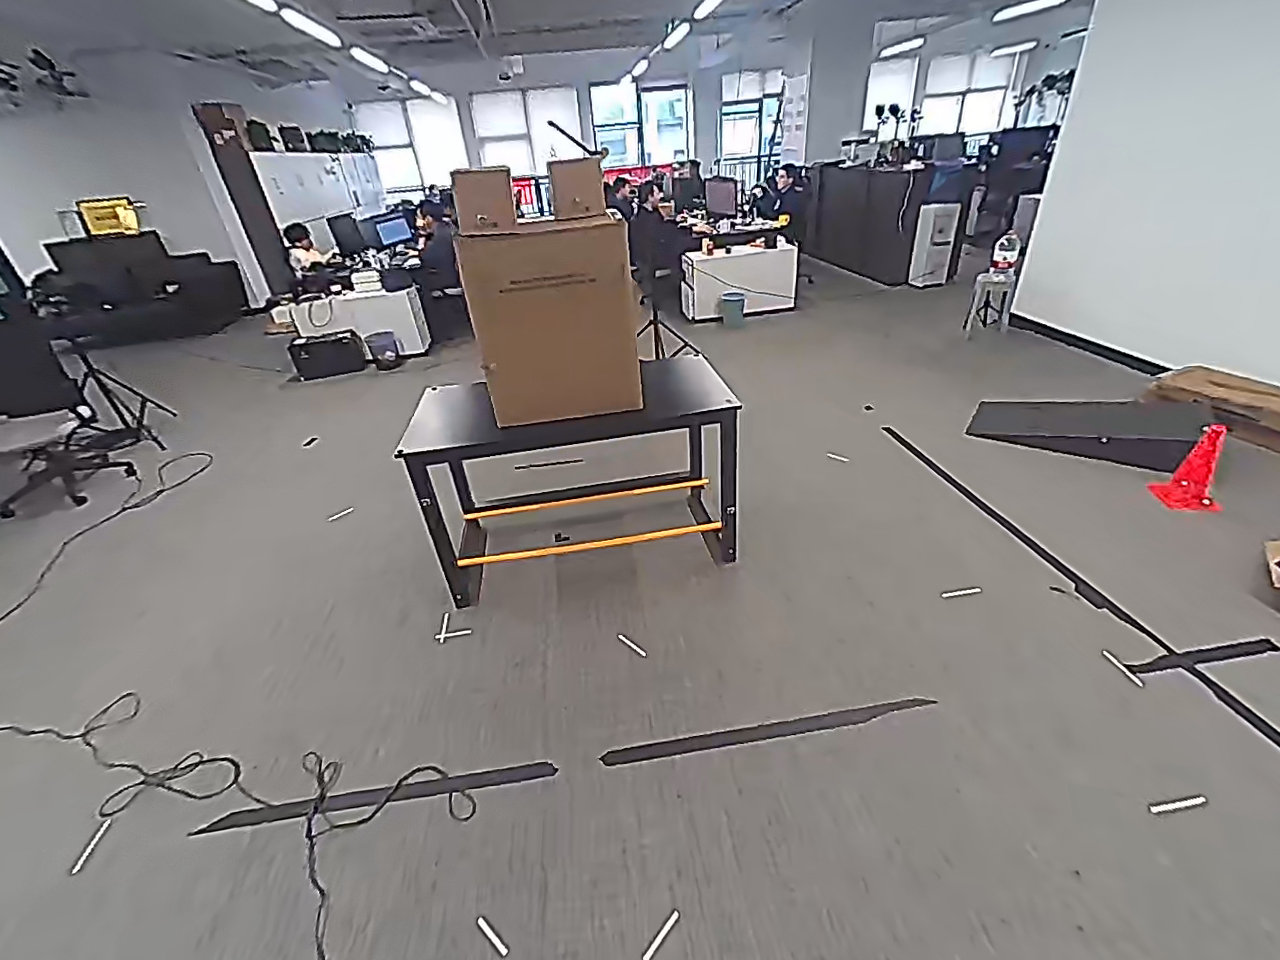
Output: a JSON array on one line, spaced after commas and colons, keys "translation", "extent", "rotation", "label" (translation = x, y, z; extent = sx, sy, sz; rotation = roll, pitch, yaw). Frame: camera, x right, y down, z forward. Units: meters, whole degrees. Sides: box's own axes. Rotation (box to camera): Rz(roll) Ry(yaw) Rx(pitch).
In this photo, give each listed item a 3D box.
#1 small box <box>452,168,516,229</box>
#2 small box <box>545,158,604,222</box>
[{"translation": [-0.511, -0.932, 1.792], "extent": [0.168, 0.176, 0.179], "rotation": [-9, 30, -7], "label": "small box"}, {"translation": [-0.218, -0.959, 1.791], "extent": [0.168, 0.176, 0.179], "rotation": [-11, 31, -6], "label": "small box"}]
